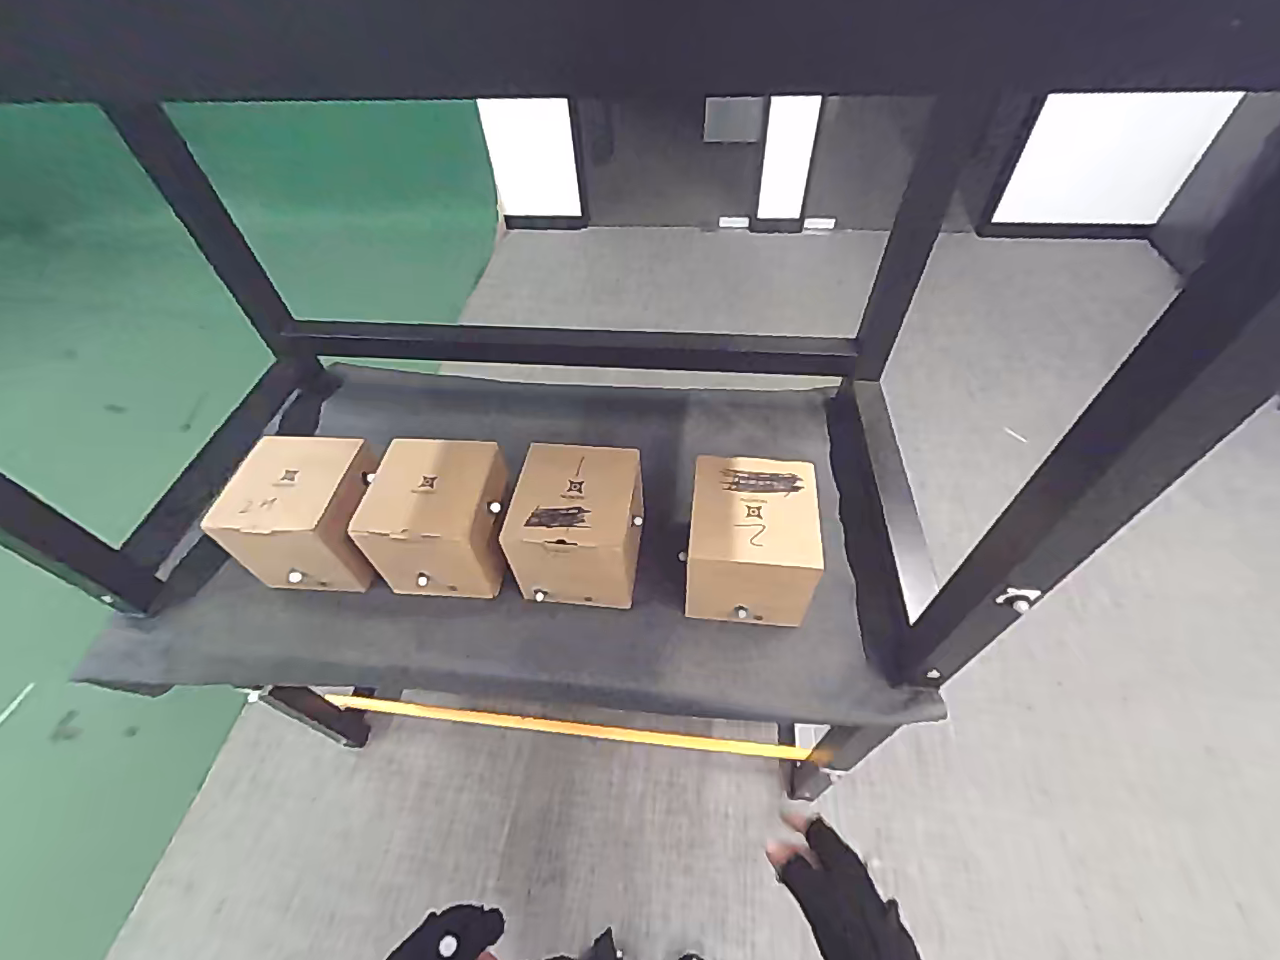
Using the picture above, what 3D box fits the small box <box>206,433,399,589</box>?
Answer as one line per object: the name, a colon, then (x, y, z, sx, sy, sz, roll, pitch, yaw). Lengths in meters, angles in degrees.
small box: (-0.502, 0.048, 0.841, 0.168, 0.176, 0.179, 2, 50, 4)
